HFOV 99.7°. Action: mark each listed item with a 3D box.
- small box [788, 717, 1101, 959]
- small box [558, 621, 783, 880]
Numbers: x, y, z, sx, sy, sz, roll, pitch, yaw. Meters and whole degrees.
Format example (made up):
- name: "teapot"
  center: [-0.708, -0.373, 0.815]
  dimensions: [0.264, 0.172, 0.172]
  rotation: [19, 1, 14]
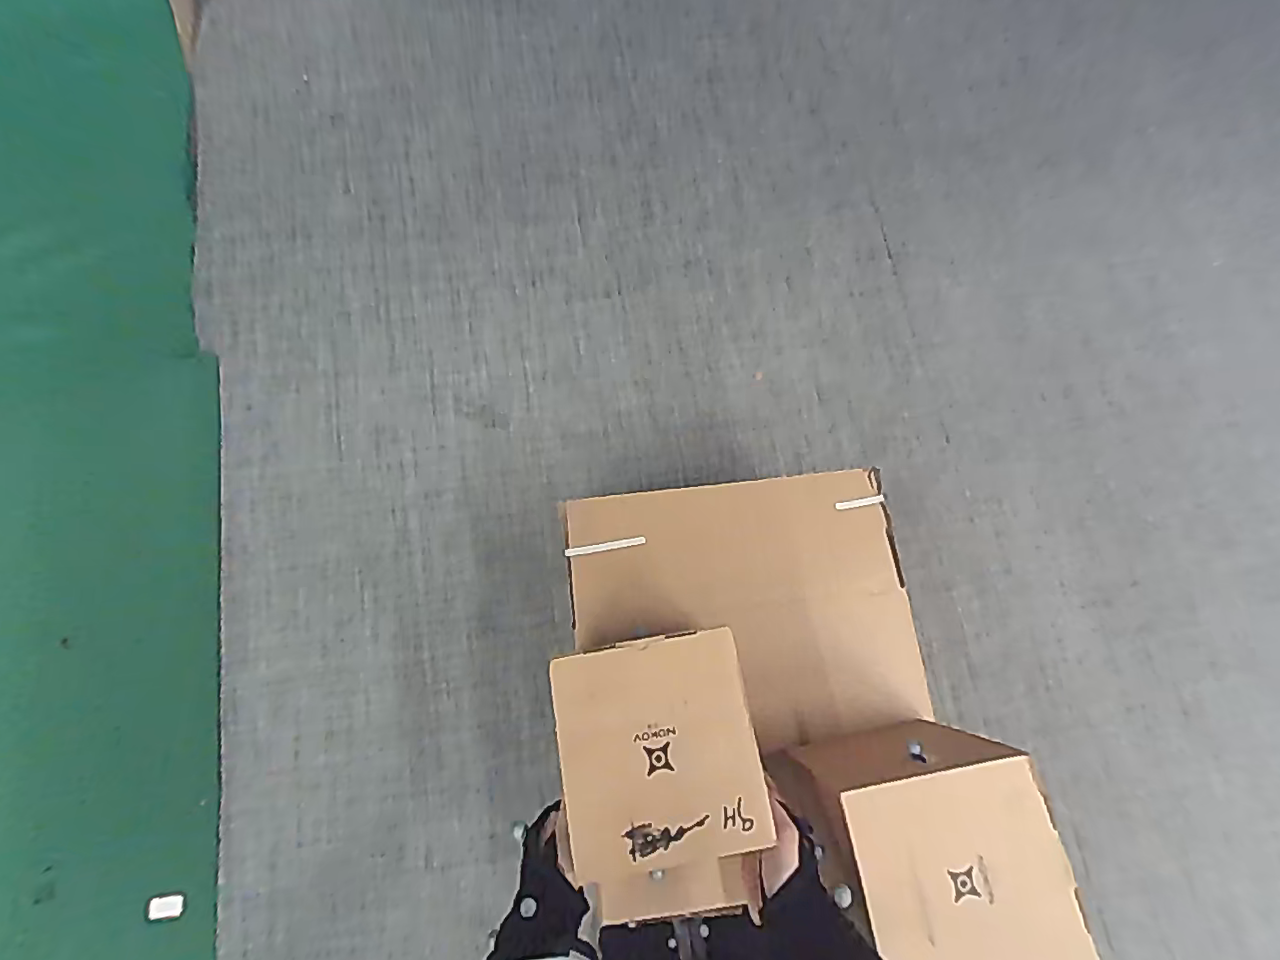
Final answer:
- name: "small box"
  center: [0.264, 0.337, 0.516]
  dimensions: [0.179, 0.176, 0.168]
  rotation: [-9, 75, -4]
- name: "small box"
  center: [0.019, 0.245, 0.528]
  dimensions: [0.168, 0.176, 0.179]
  rotation: [-10, 72, -3]
